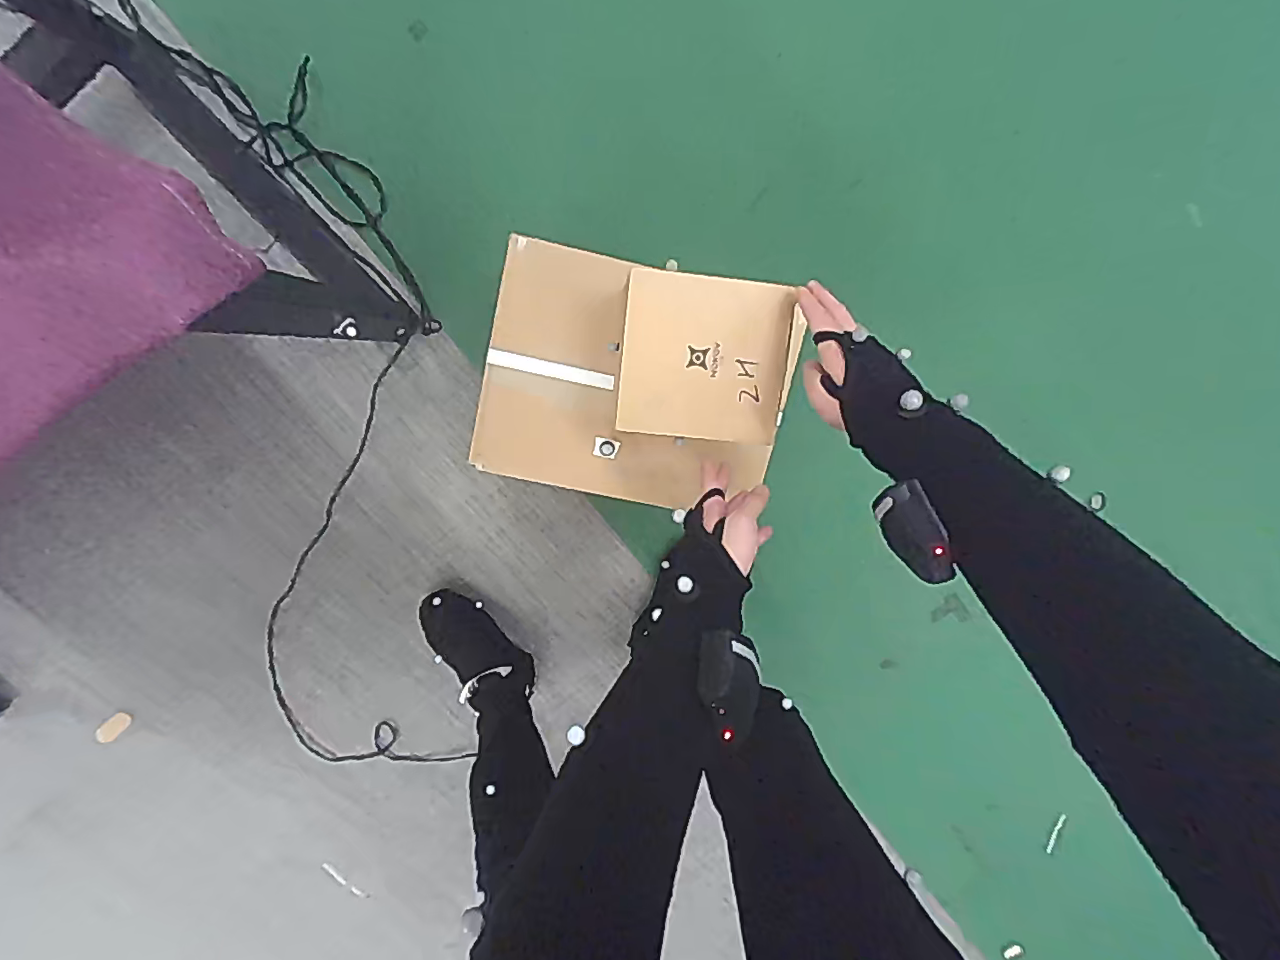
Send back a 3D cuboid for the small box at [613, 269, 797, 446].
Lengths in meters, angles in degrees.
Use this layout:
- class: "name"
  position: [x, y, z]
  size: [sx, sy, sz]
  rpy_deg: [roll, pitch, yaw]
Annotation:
- class: "small box"
  position: [0.061, -0.138, 0.639]
  size: [0.179, 0.176, 0.168]
  rpy_deg: [5, 101, -6]
